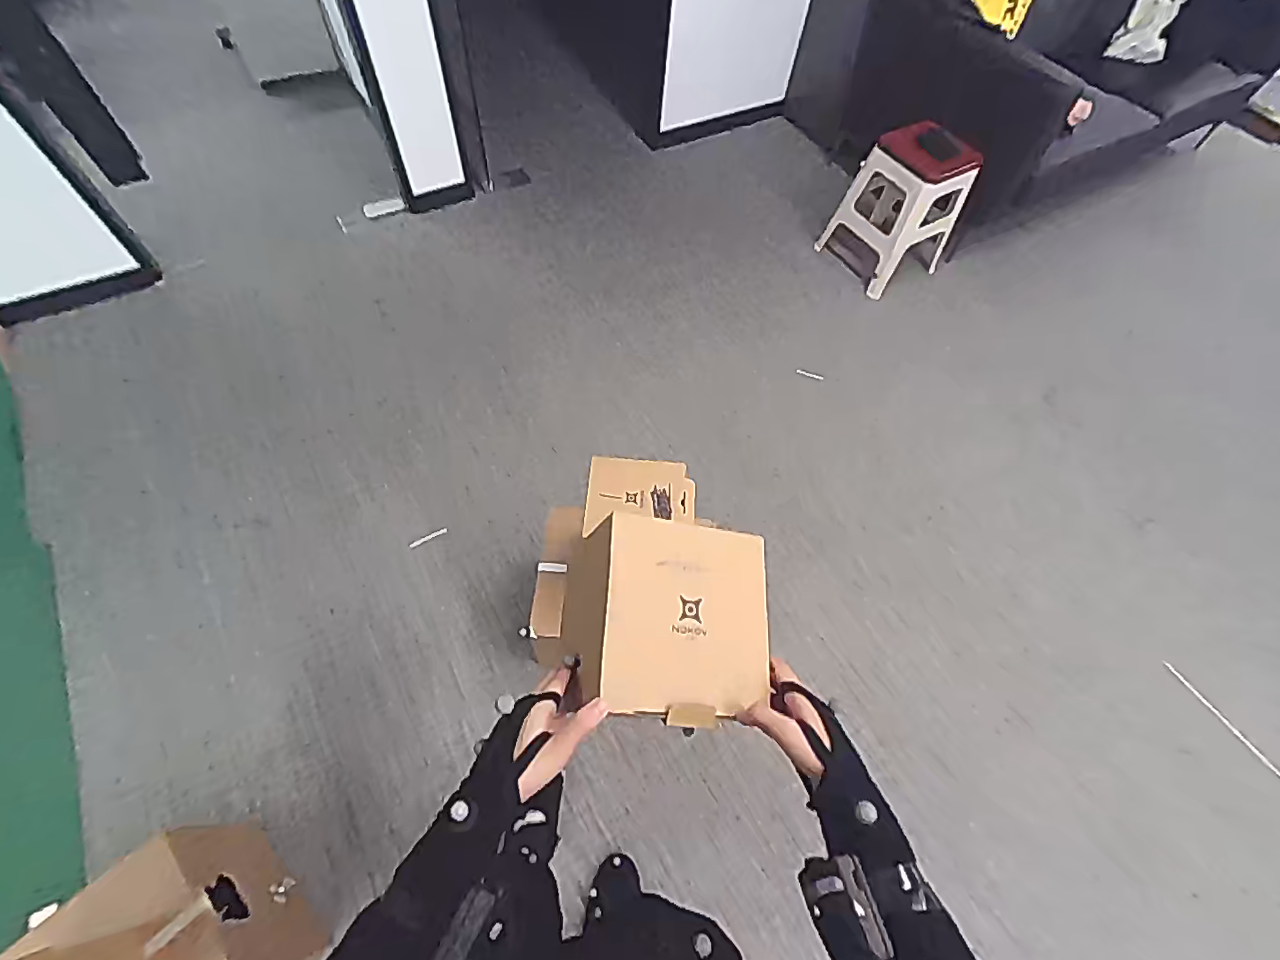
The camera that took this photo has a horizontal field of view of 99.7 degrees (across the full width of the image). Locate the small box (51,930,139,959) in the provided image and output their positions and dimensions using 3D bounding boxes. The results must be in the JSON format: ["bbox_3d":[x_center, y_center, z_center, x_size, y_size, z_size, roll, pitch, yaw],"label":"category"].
[{"bbox_3d":[-0.807,0.759,0.722,0.168,0.176,0.179,-34,69,-22],"label":"small box"}]

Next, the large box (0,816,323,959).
[{"bbox_3d":[-0.868,0.876,0.934,0.408,0.320,0.320,-40,70,-23],"label":"large box"}]

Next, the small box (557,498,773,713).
[{"bbox_3d":[0.018,0.140,0.558,0.168,0.176,0.179,12,64,-19],"label":"small box"}]

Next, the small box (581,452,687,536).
[{"bbox_3d":[-0.012,0.068,1.009,0.179,0.176,0.168,5,59,-1],"label":"small box"}]
